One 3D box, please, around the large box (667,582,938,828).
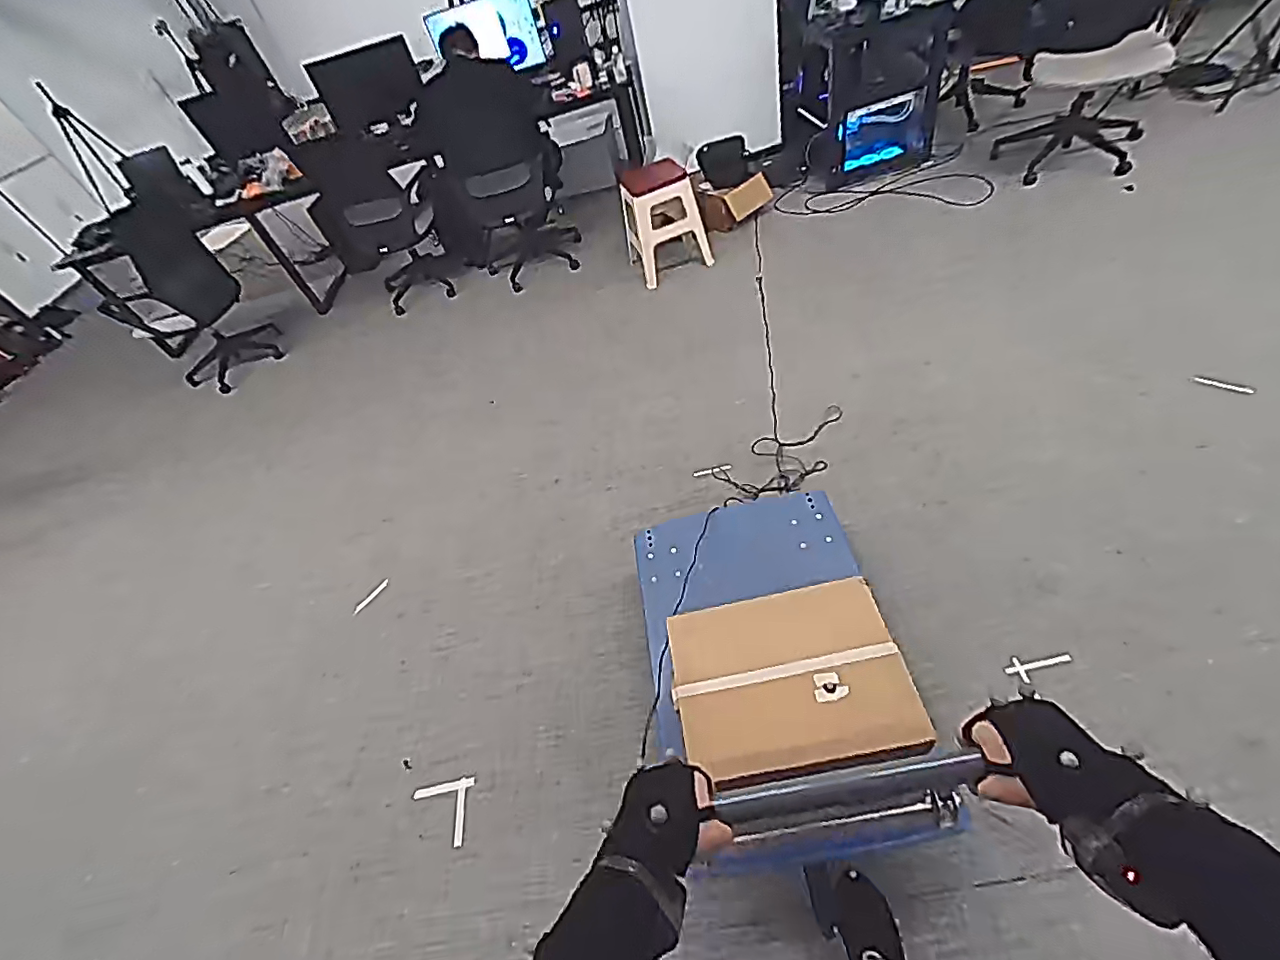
[{"bbox_3d":[0.293,0.452,1.071,0.408,0.320,0.320,-13,47,5],"label":"large box"}]
